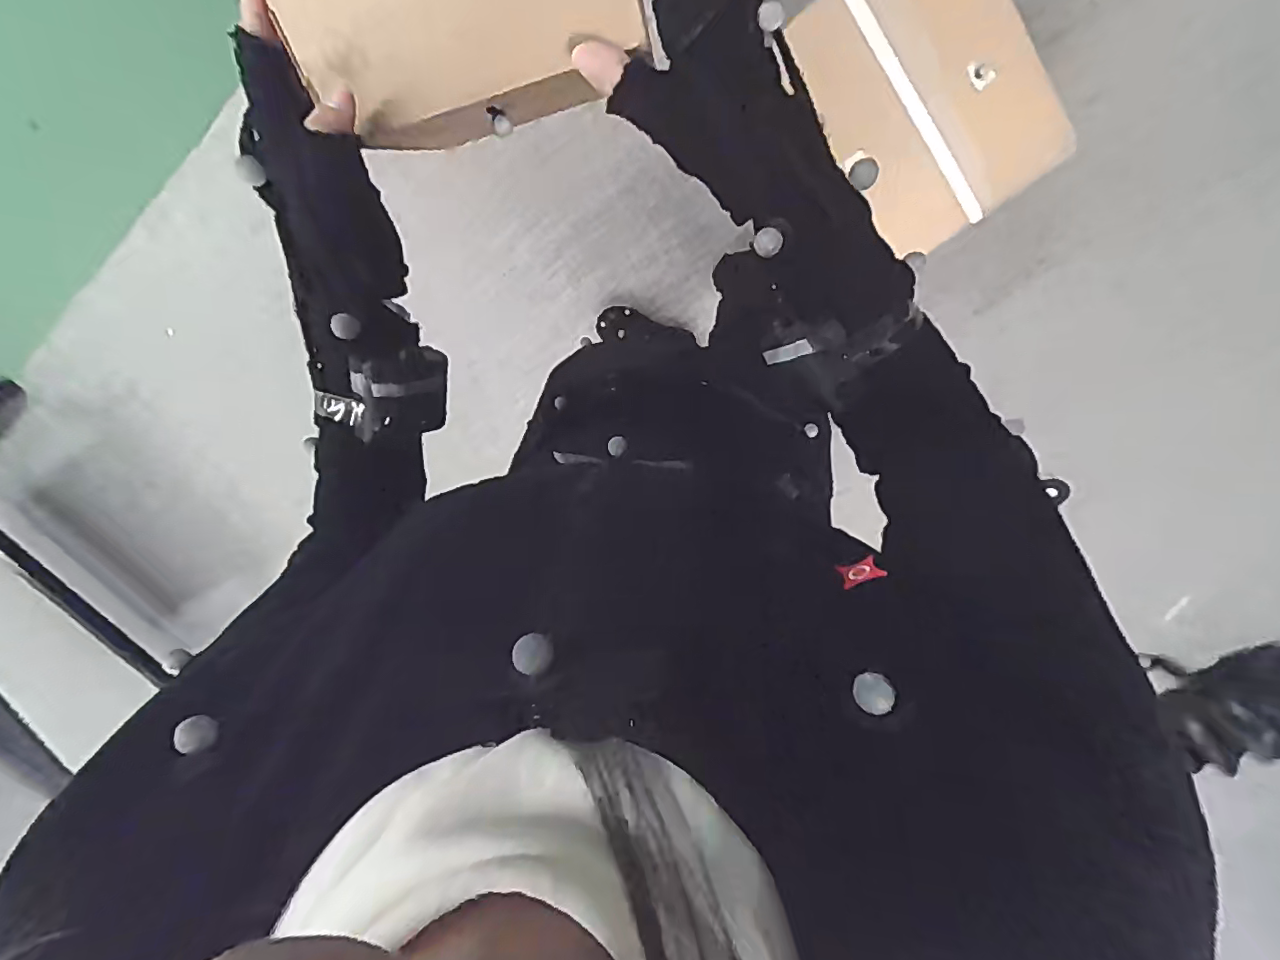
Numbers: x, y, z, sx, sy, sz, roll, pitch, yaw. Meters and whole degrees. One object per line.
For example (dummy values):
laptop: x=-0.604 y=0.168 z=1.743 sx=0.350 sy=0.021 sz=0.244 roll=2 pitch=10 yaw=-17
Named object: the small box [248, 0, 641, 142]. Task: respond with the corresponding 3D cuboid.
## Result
small box: x=-0.104 y=-0.302 z=0.298 sx=0.179 sy=0.176 sz=0.168 roll=-12 pitch=122 yaw=10
